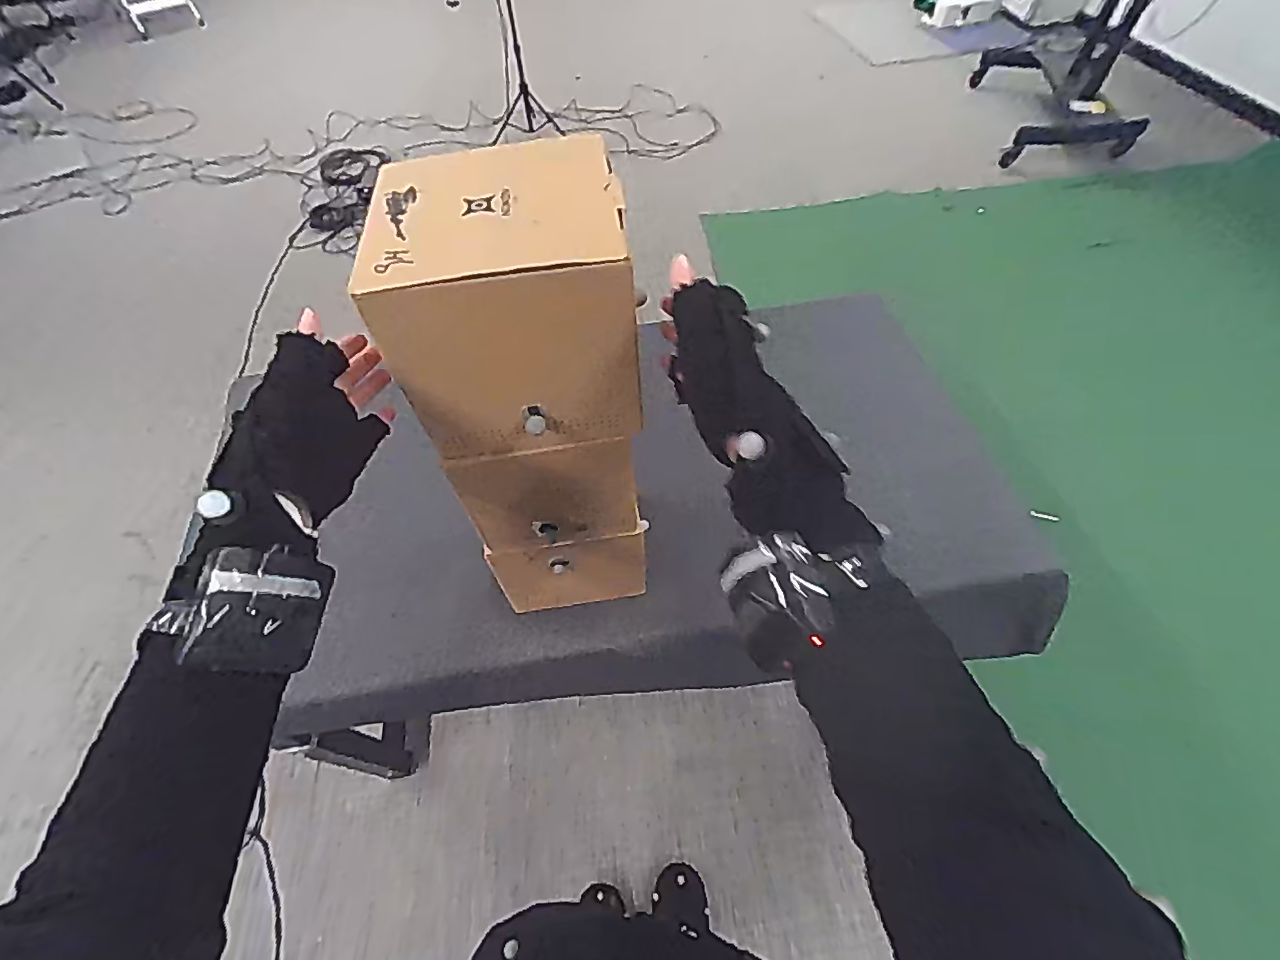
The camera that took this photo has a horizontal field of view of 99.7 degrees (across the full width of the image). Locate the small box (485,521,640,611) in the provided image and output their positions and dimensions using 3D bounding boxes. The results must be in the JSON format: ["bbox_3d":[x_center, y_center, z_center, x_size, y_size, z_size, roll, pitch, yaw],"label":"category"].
[{"bbox_3d":[-0.098,0.061,0.721,0.179,0.176,0.168,-8,56,-4],"label":"small box"}]

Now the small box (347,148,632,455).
[{"bbox_3d":[-0.101,-0.140,0.443,0.179,0.176,0.168,-8,53,-3],"label":"small box"}]

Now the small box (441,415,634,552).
[{"bbox_3d":[-0.102,-0.046,0.580,0.168,0.176,0.179,-10,57,-4],"label":"small box"}]
